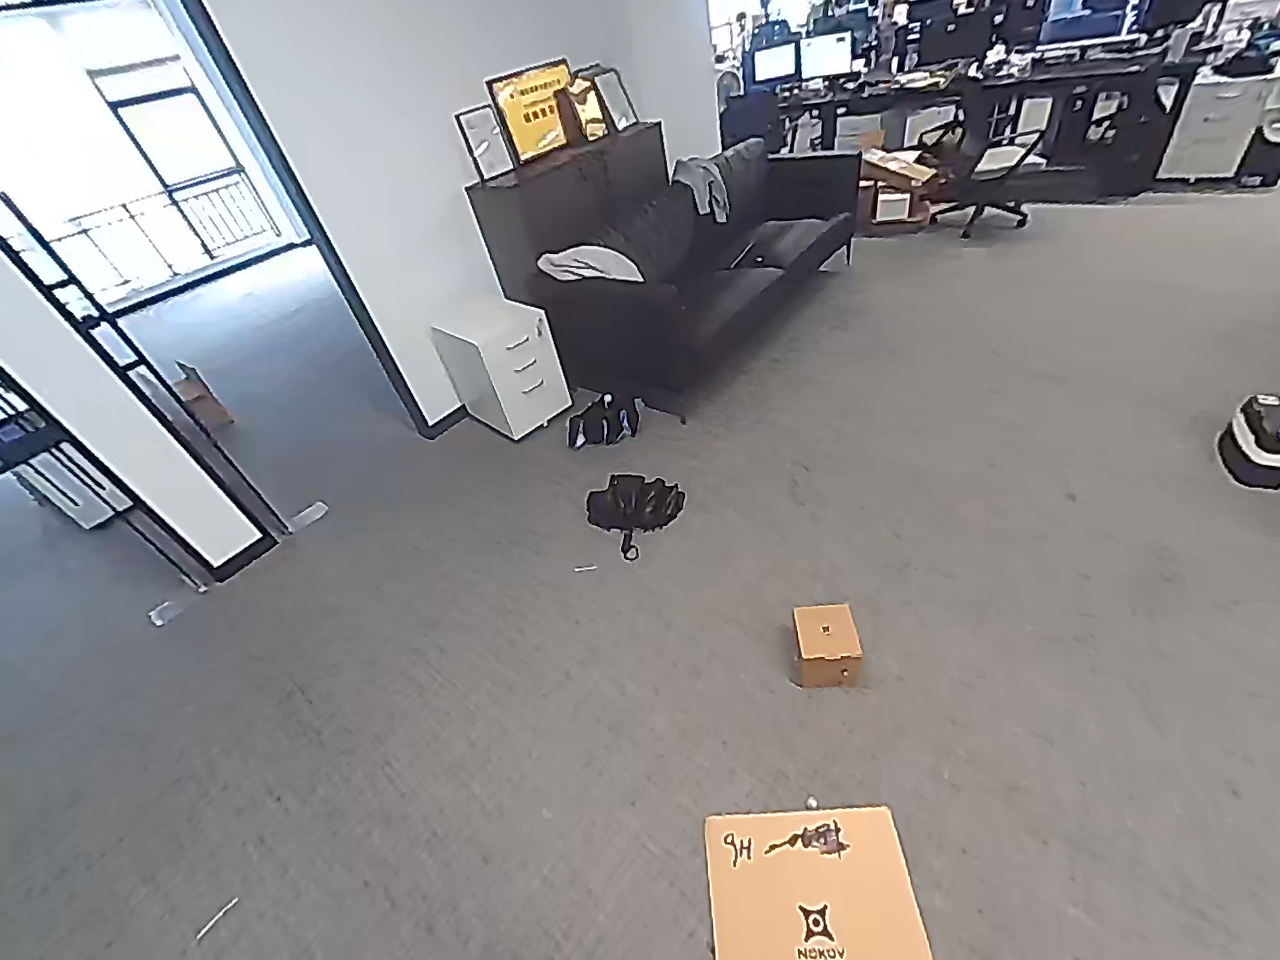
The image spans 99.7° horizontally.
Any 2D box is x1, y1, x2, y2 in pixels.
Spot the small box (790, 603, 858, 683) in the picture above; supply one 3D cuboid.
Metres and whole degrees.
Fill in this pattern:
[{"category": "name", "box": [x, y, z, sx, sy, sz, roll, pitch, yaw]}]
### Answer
[{"category": "small box", "box": [0.551, 0.498, 1.634, 0.168, 0.176, 0.179, -6, 38, 8]}]
